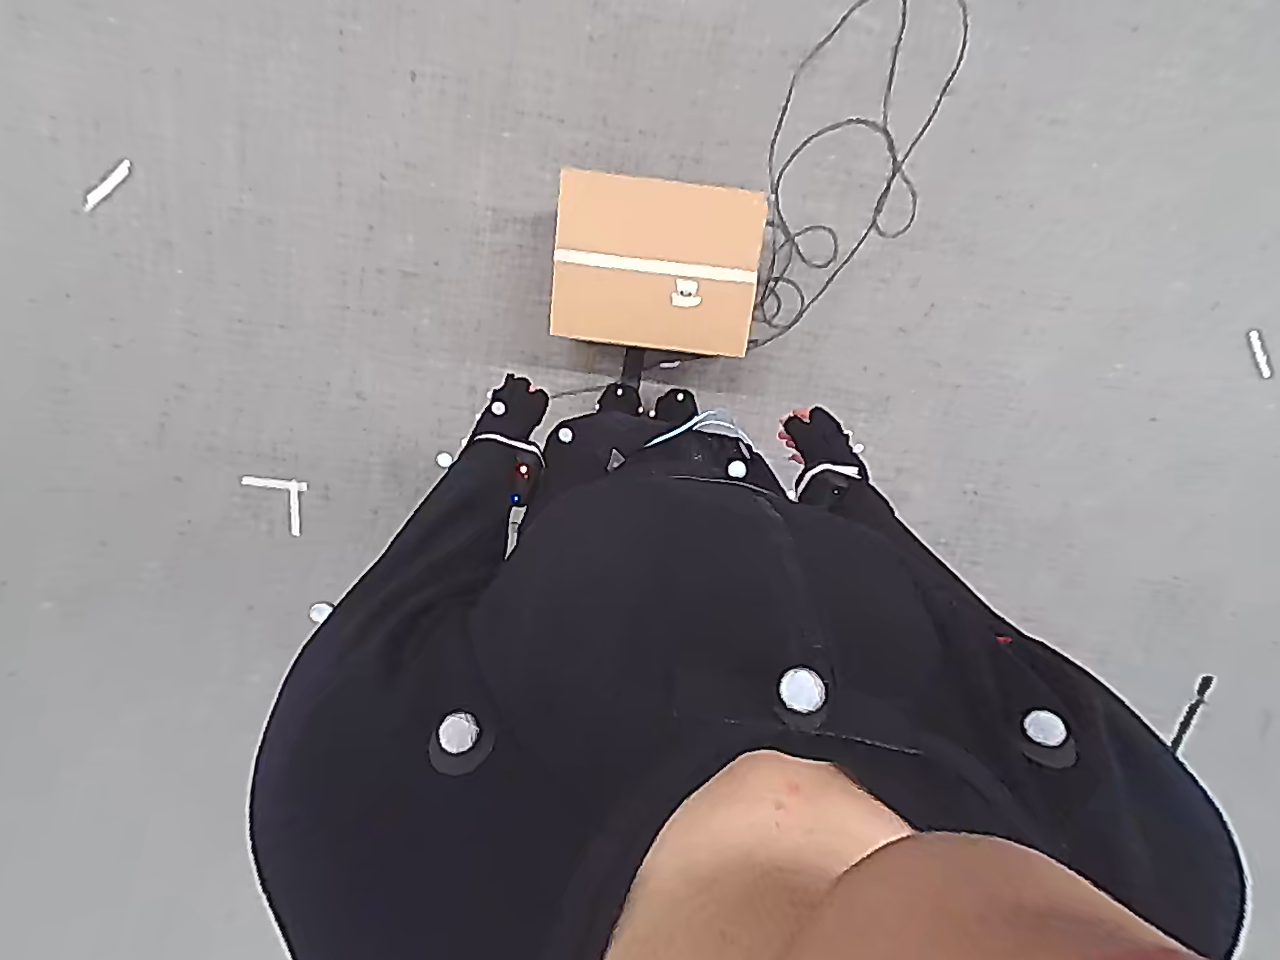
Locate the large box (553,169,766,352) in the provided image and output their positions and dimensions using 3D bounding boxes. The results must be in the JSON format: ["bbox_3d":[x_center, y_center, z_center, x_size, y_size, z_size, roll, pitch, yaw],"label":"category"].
[{"bbox_3d":[0.030,-0.467,1.223,0.408,0.320,0.320,6,105,-2],"label":"large box"}]
